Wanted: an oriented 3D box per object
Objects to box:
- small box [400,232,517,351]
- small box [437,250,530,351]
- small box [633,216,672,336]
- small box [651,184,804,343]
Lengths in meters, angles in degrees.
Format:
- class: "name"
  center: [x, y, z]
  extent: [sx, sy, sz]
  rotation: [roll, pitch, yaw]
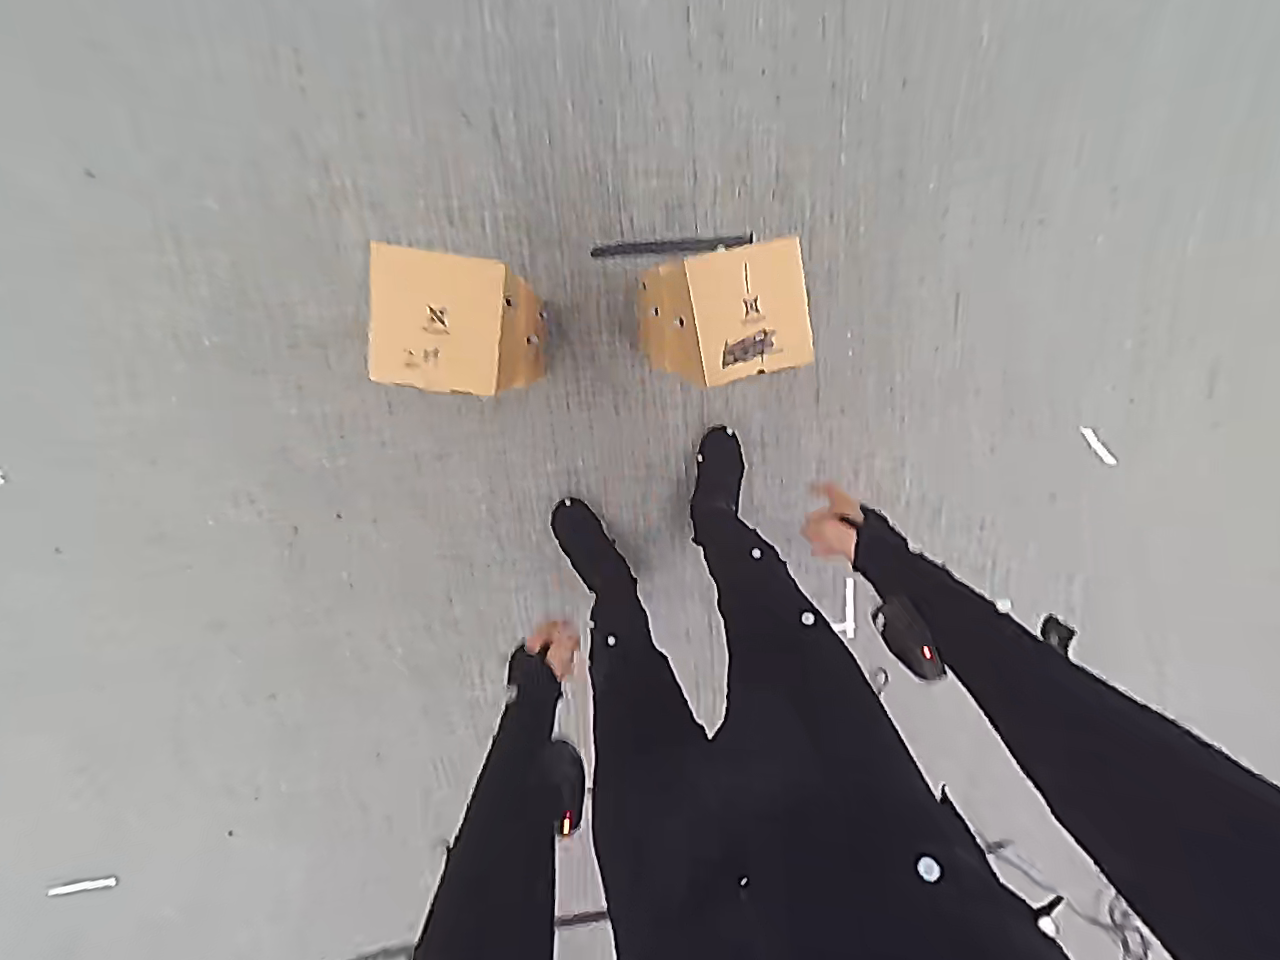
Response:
- class: "small box"
  center: [-0.298, -0.310, 0.903]
  extent: [0.168, 0.176, 0.179]
  rotation: [0, 104, -7]
- class: "small box"
  center: [-0.308, -0.345, 1.058]
  extent: [0.168, 0.176, 0.179]
  rotation: [-2, 104, -6]
- class: "small box"
  center: [0.083, -0.350, 0.945]
  extent: [0.168, 0.176, 0.179]
  rotation: [-6, 104, -7]
- class: "small box"
  center: [0.121, -0.305, 0.789]
  extent: [0.168, 0.176, 0.179]
  rotation: [-14, 106, -5]
